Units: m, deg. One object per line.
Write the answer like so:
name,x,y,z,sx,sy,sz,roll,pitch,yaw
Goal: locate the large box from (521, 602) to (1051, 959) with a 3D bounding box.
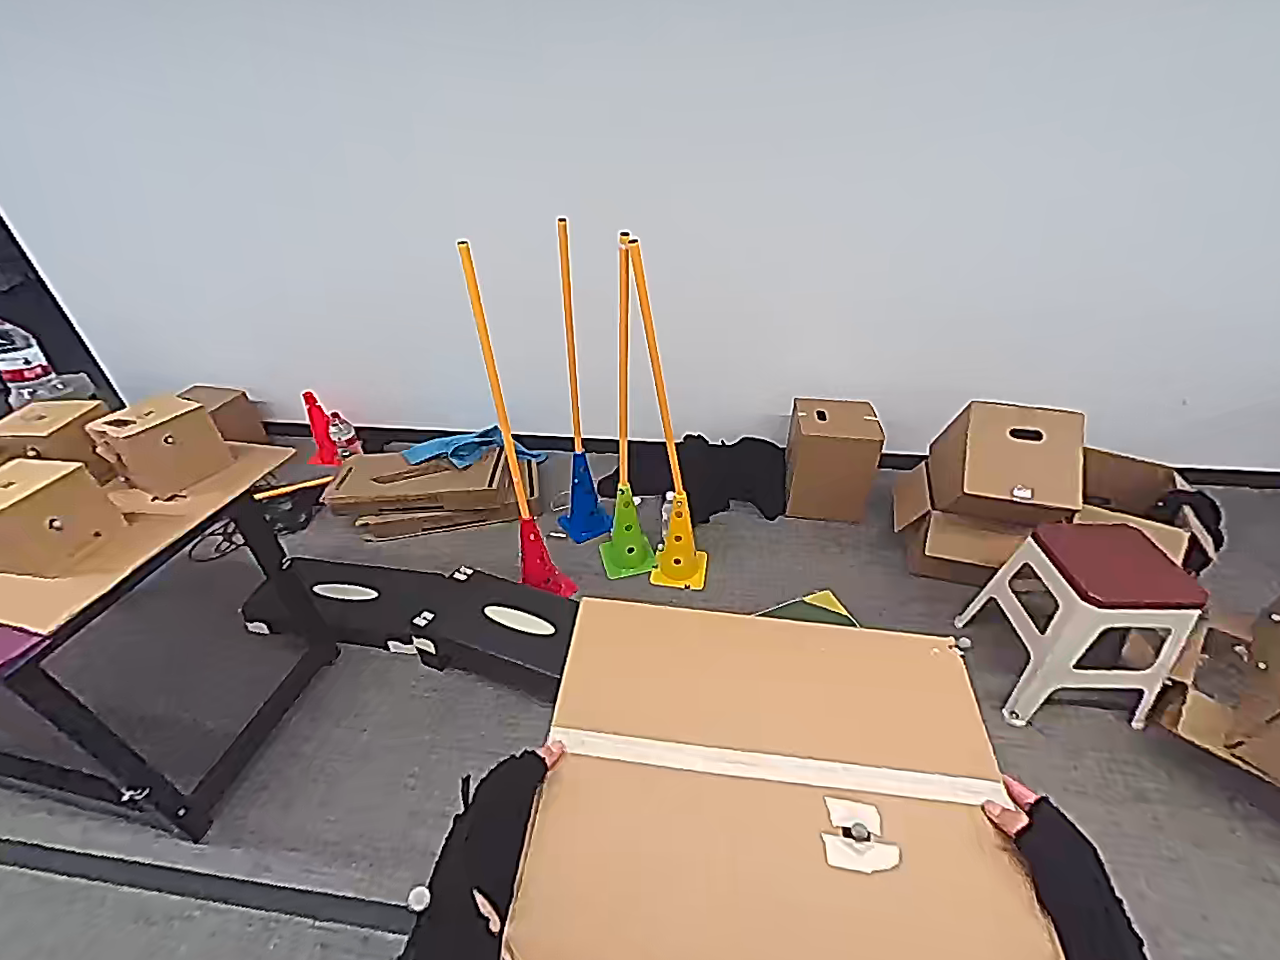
large box,0.118,0.367,0.601,0.408,0.320,0.320,6,45,5
